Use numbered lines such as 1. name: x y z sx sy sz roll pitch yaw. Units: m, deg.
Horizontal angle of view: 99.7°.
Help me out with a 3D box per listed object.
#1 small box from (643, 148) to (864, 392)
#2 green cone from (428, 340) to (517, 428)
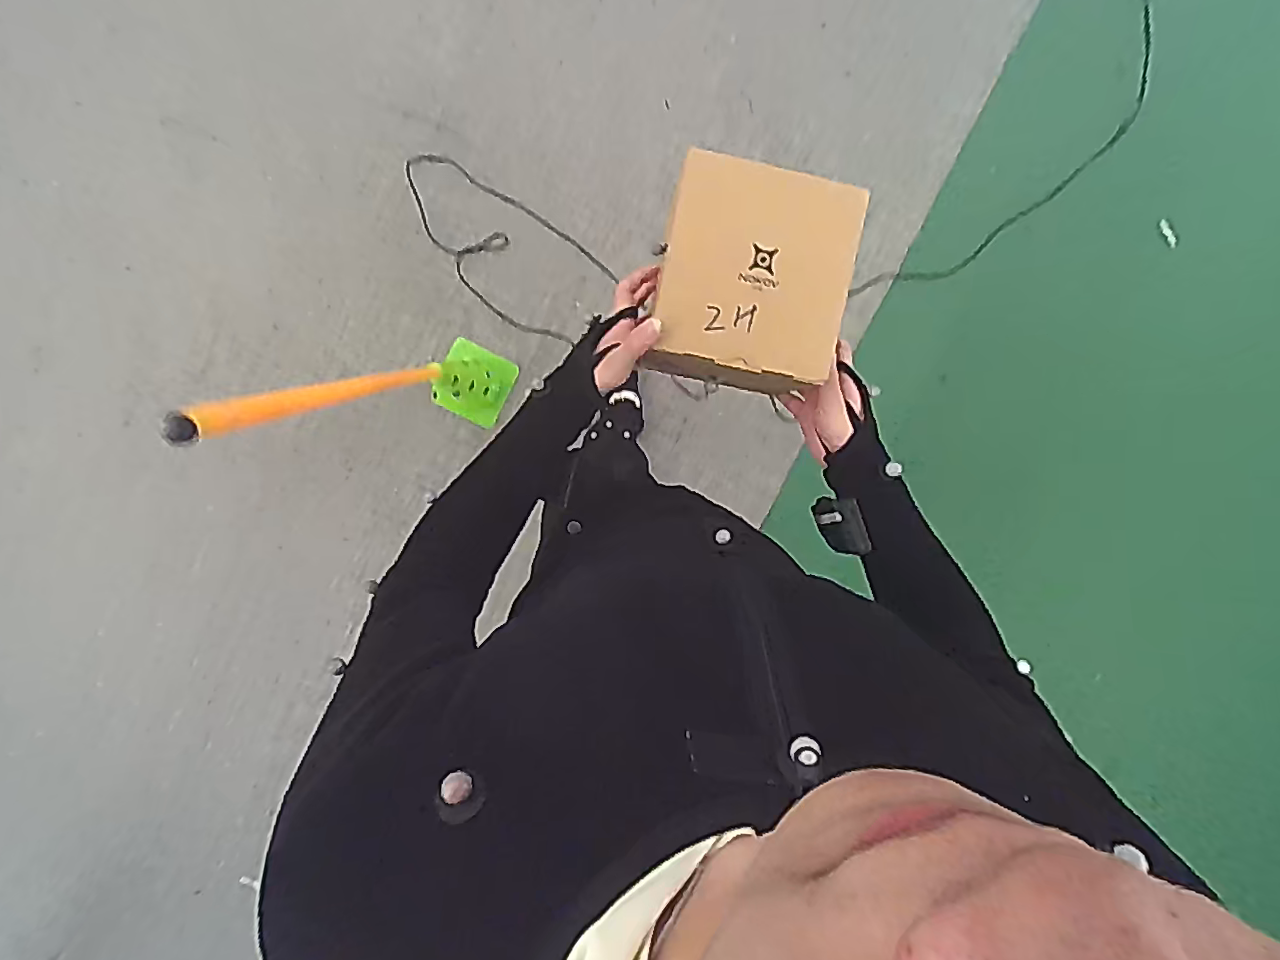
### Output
1. small box: 0.101 -0.199 0.566 0.168 0.176 0.179 12 95 -4
2. green cone: -0.461 -0.256 1.372 0.200 0.368 0.202 27 93 -7
